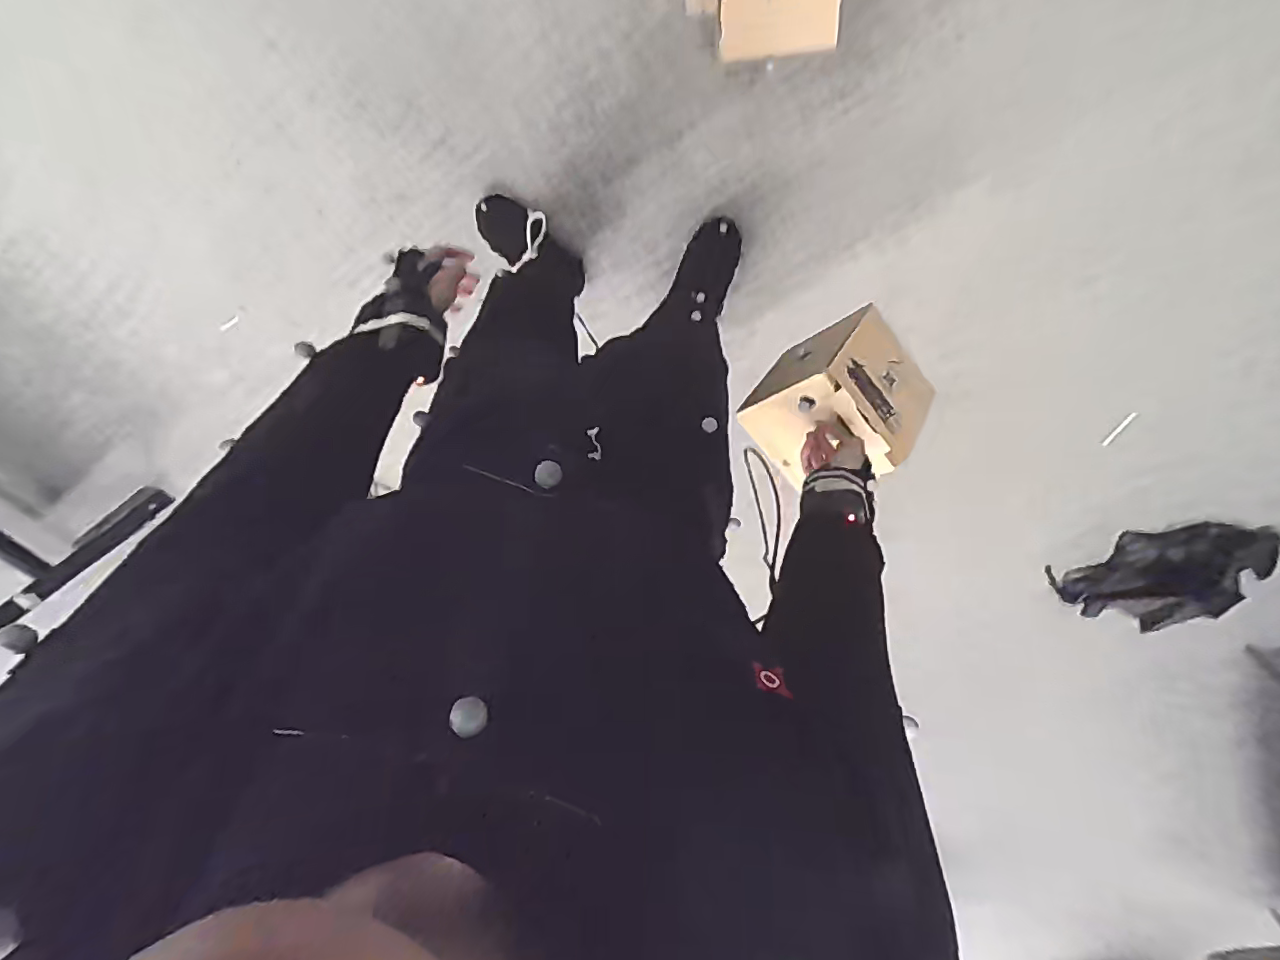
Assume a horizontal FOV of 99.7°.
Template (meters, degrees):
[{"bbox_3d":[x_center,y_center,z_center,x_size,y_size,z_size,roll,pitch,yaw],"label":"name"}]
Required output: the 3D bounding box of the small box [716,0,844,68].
[{"bbox_3d":[0.209,-0.750,0.832,0.179,0.176,0.168,-2,125,8],"label":"small box"}]
